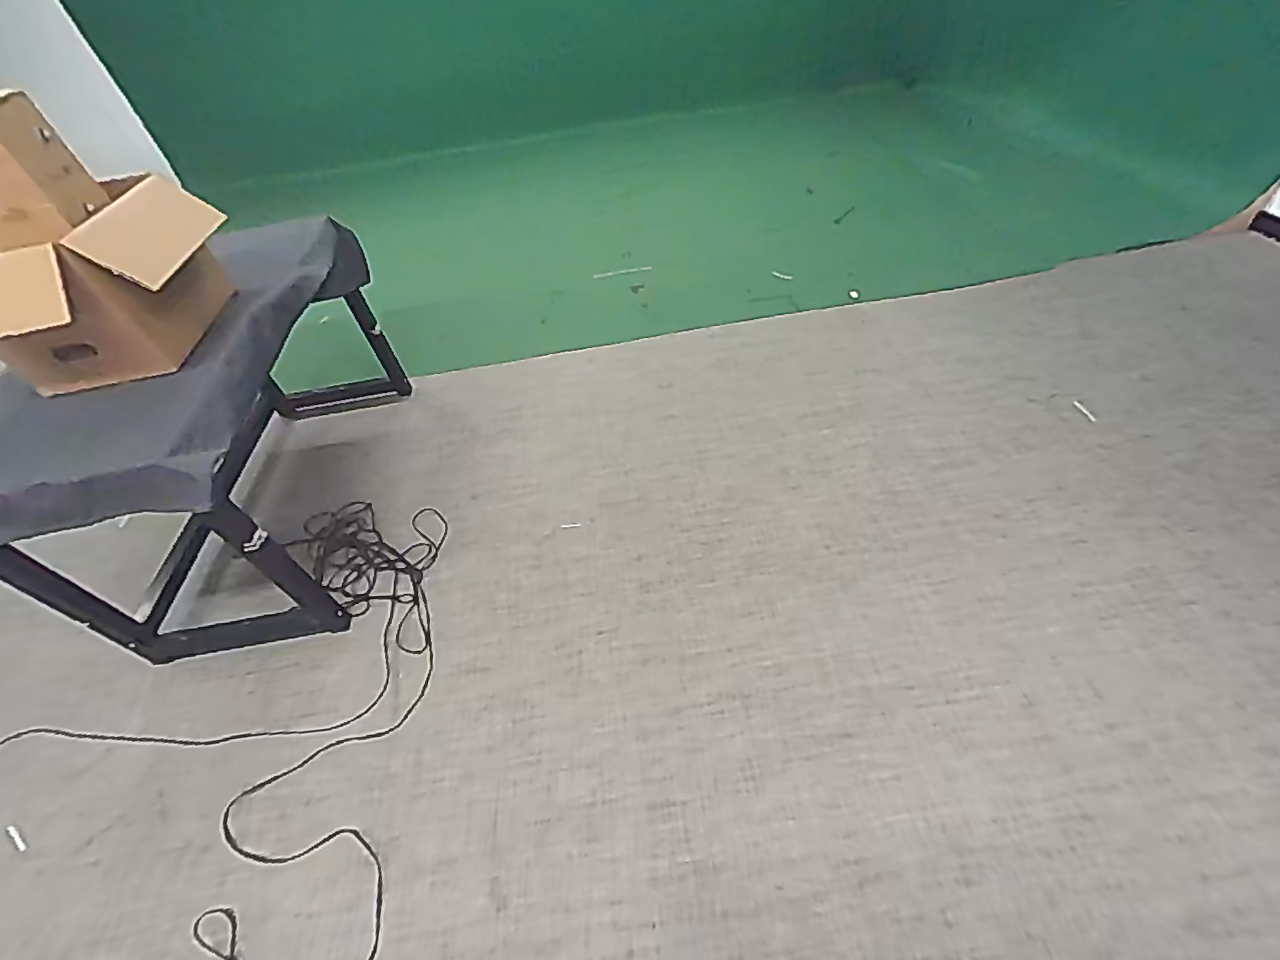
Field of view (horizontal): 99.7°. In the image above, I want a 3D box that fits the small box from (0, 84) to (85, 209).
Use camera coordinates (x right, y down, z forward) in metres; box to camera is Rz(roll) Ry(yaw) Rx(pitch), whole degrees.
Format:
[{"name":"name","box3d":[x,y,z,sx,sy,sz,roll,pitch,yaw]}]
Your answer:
[{"name":"small box","box3d":[-1.286,-0.655,1.072,0.179,0.176,0.168,-14,46,-3]}]
